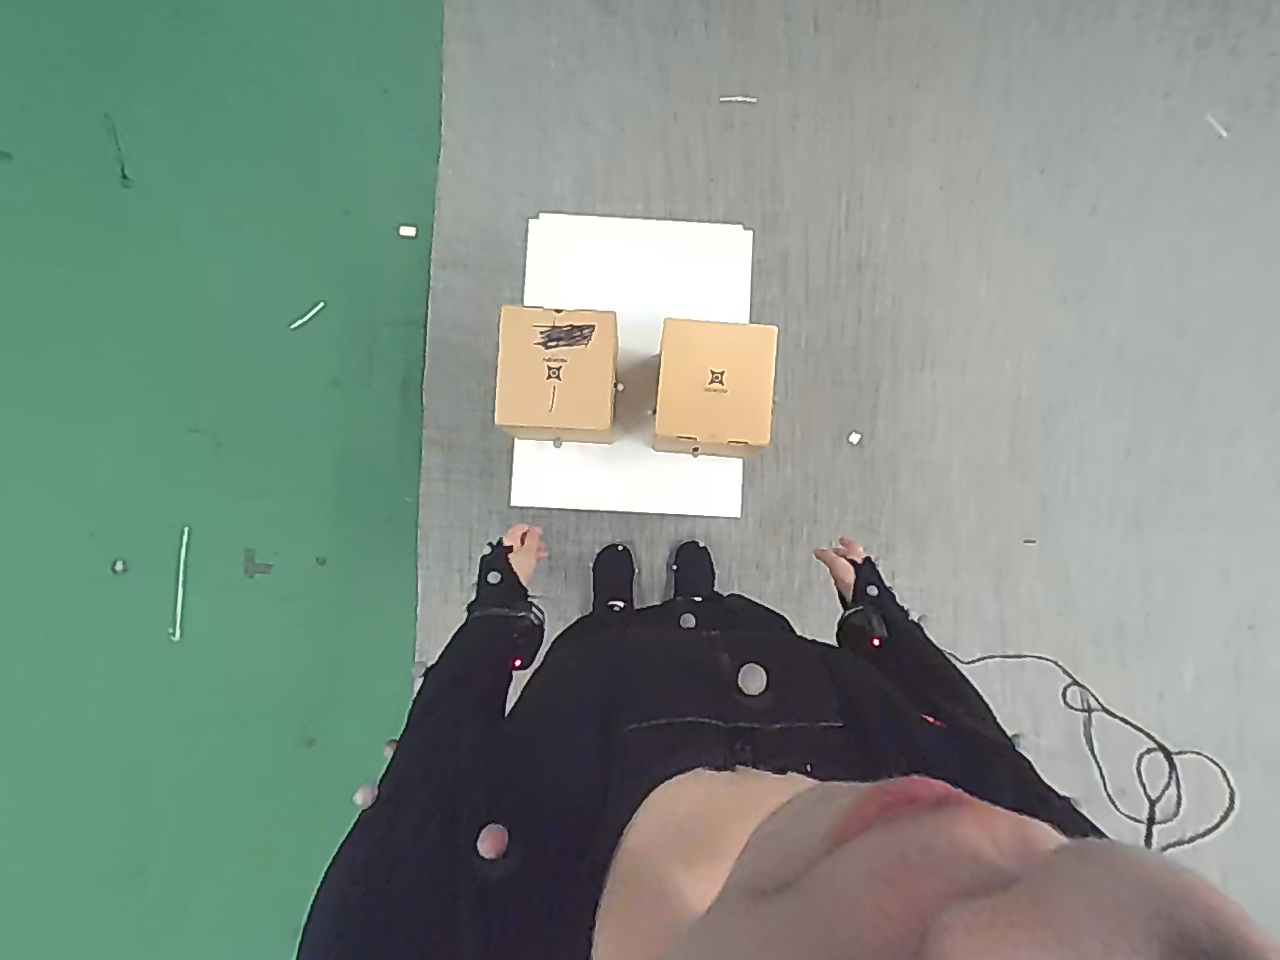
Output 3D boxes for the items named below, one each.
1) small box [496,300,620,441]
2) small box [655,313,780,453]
[{"bbox_3d":[-0.119,-0.163,0.850,0.168,0.176,0.179,3,88,0],"label":"small box"},{"bbox_3d":[0.113,-0.143,0.850,0.168,0.176,0.179,5,87,1],"label":"small box"}]
